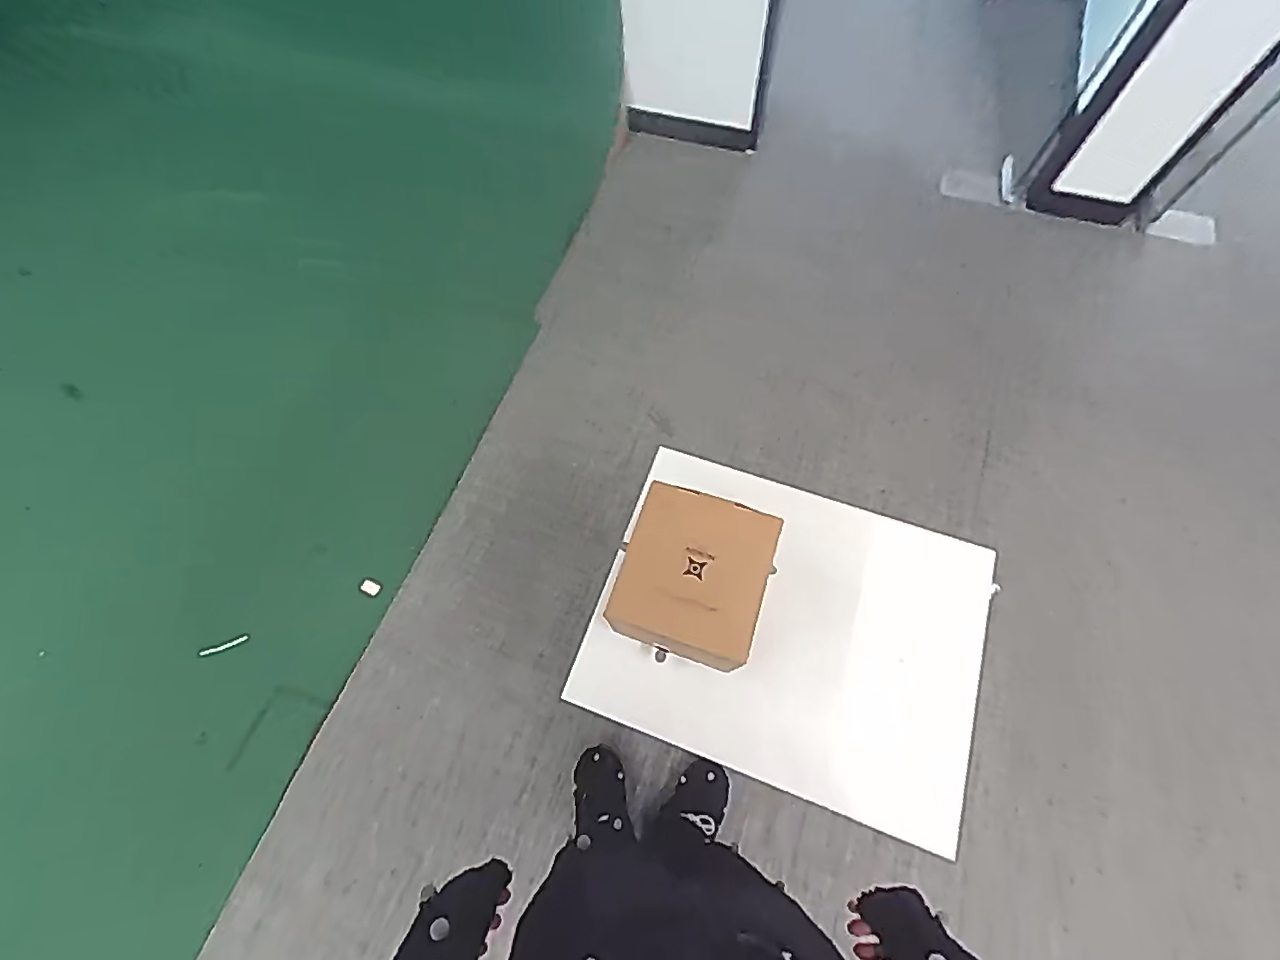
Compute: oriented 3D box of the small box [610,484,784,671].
[{"bbox_3d":[0.072,0.131,0.693,0.168,0.176,0.179,15,70,10],"label":"small box"}]
